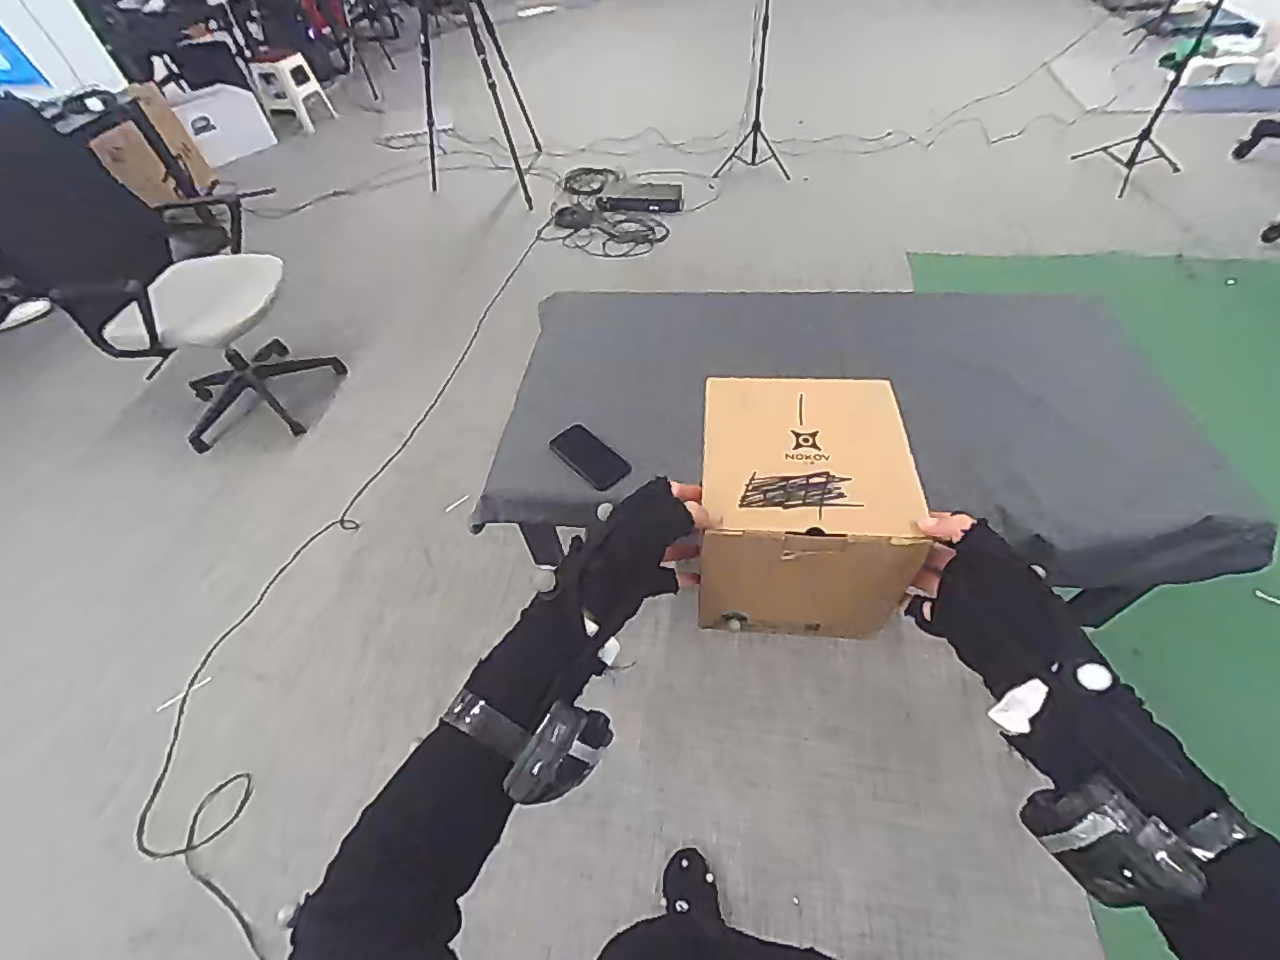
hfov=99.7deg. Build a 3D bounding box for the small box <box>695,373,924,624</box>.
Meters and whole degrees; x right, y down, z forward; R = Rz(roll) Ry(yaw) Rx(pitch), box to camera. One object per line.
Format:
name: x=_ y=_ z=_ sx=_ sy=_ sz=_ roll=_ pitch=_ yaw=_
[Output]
small box: x=0.138 y=0.020 z=0.508 sx=0.168 sy=0.176 sz=0.179 roll=2 pitch=50 yaw=6
